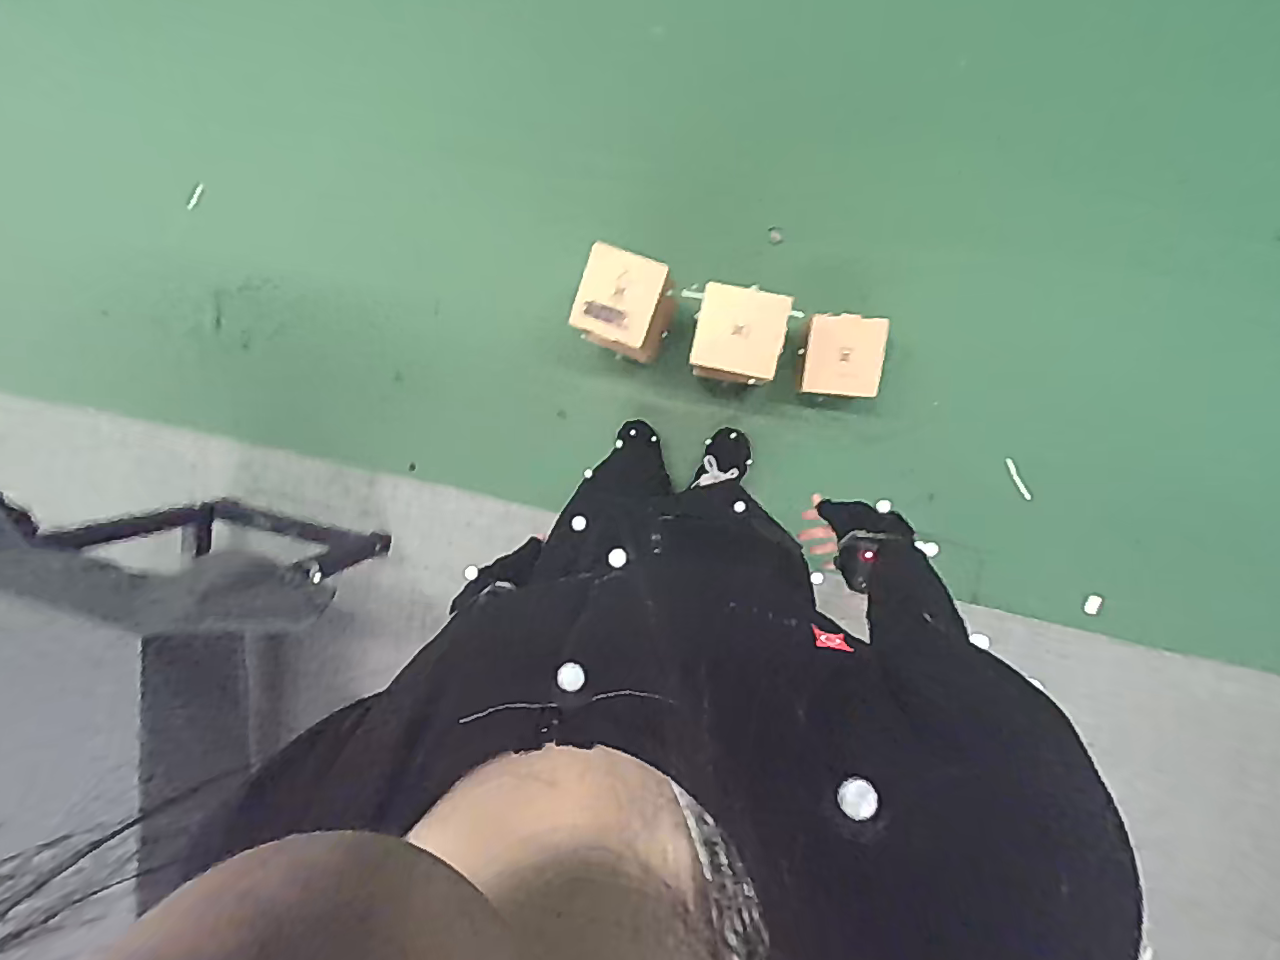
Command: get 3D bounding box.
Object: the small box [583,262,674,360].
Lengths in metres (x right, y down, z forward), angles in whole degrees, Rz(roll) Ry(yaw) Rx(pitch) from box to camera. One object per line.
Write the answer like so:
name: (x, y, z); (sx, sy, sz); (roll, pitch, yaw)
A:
small box: (-0.021, -0.410, 1.340); (0.168, 0.176, 0.179); (23, 102, 5)

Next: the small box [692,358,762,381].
small box: (0.226, -0.339, 1.316); (0.168, 0.176, 0.179); (10, 99, 6)

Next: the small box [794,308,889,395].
small box: (0.469, -0.300, 1.288); (0.168, 0.176, 0.179); (7, 99, 7)

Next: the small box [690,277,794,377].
small box: (0.212, -0.318, 1.155); (0.179, 0.176, 0.168); (13, 100, 5)
